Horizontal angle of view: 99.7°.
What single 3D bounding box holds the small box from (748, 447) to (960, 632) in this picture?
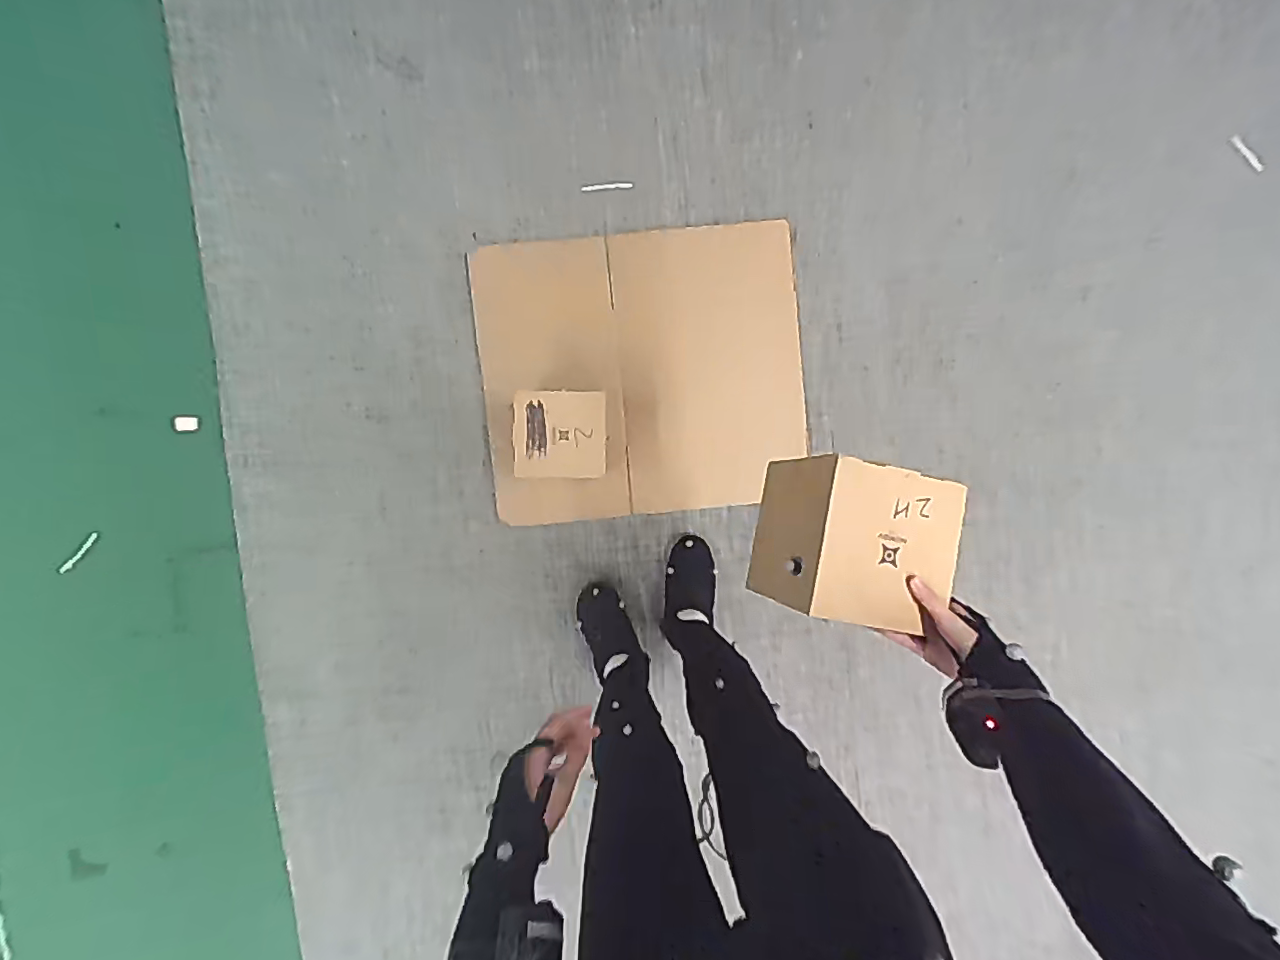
[{"bbox_3d":[0.247,0.068,0.662,0.168,0.176,0.179,12,85,-11],"label":"small box"}]
